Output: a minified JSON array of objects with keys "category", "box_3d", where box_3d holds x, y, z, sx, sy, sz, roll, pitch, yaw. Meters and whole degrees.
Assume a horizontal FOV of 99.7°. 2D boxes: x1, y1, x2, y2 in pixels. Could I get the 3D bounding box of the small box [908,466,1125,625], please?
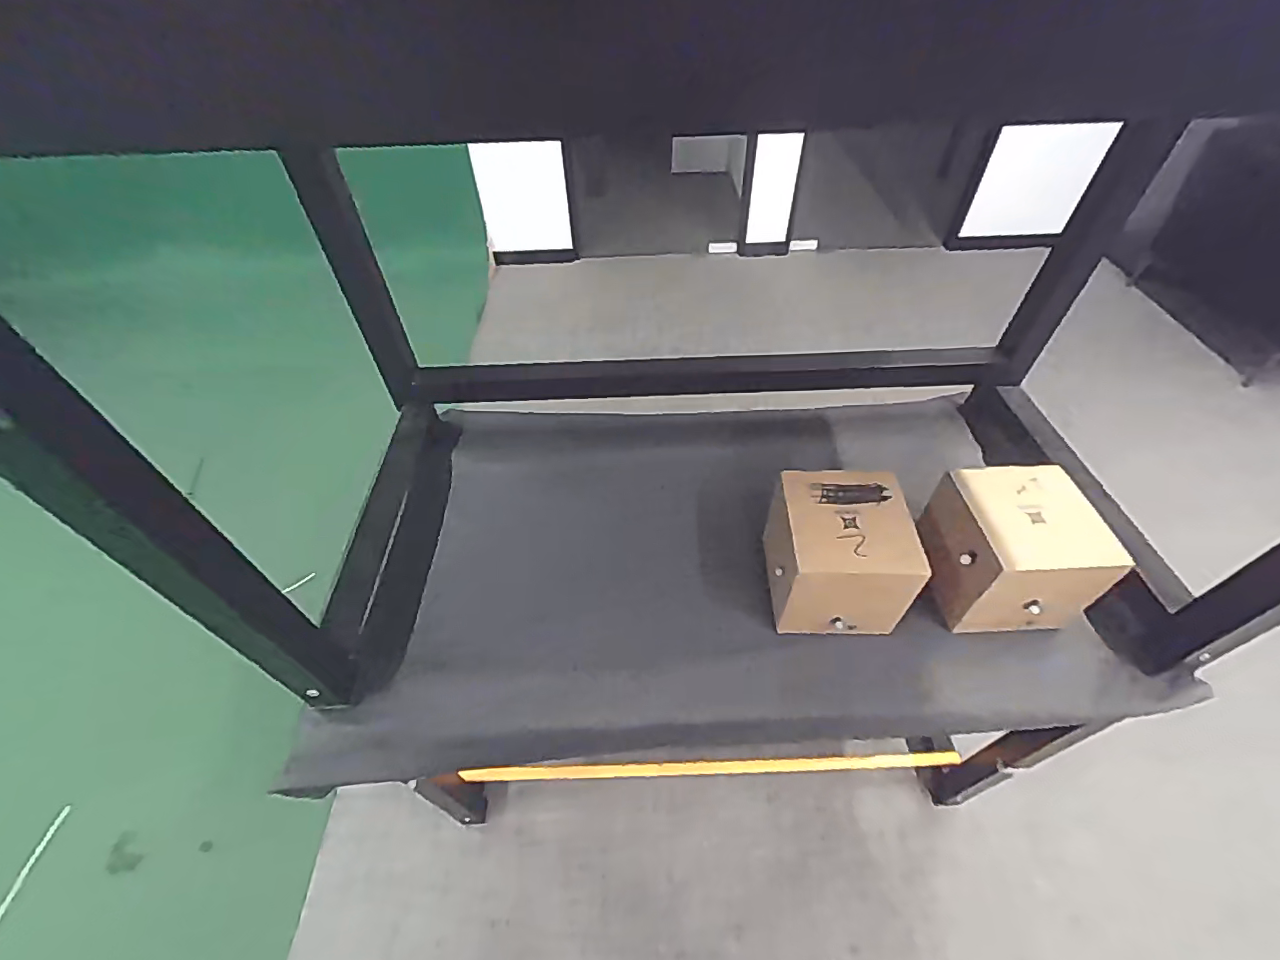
[{"category":"small box","box_3d":[0.525,0.101,0.788,0.168,0.176,0.179,-2,47,-1]}]
